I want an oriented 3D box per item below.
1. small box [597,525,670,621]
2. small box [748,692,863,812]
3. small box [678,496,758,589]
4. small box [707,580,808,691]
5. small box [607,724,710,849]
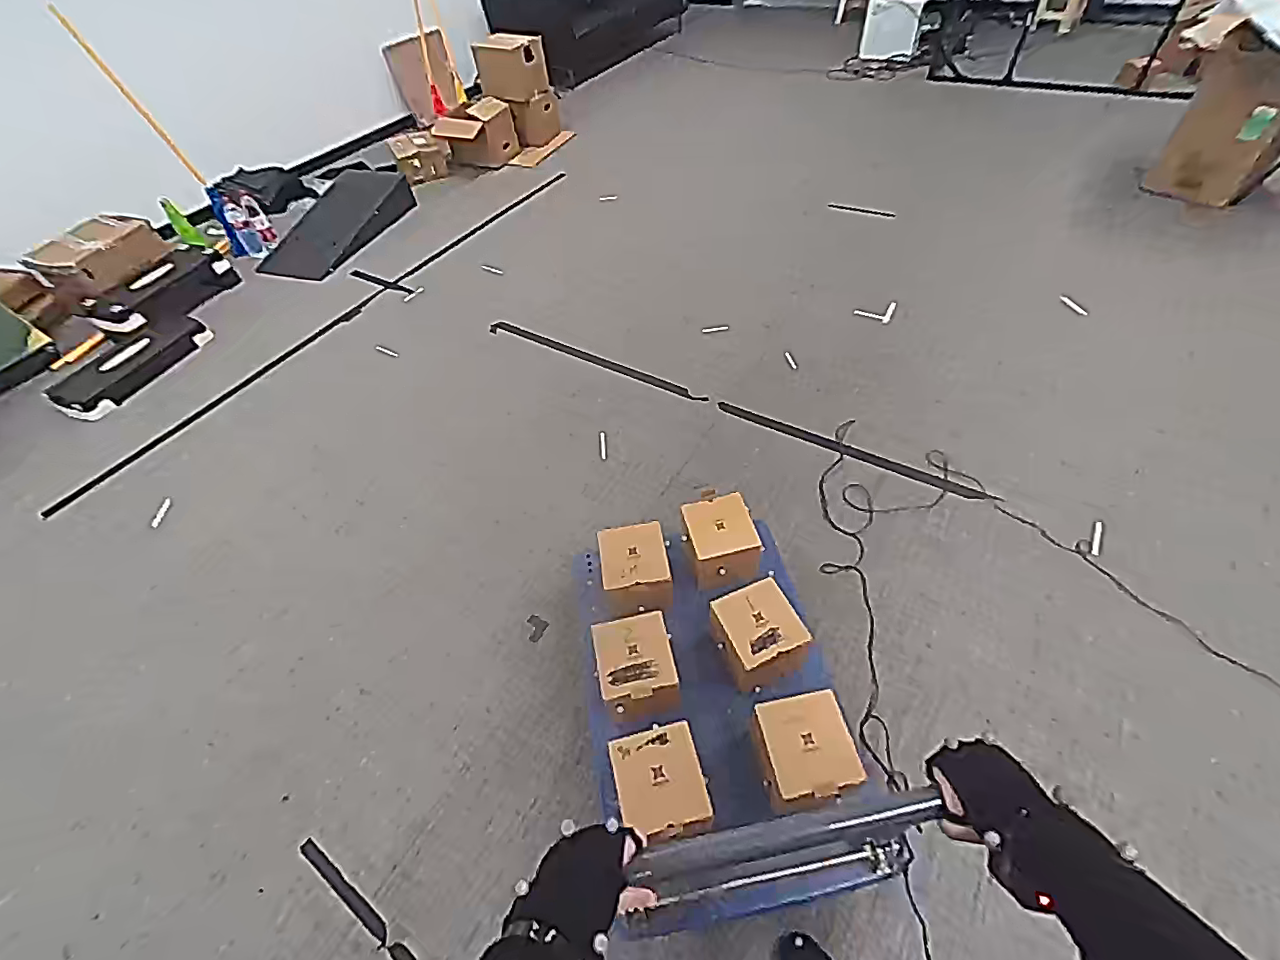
[{"bbox_3d":[-0.017,0.243,1.410,0.168,0.176,0.179,-9,51,-2],"label":"small box"},{"bbox_3d":[0.329,0.565,1.113,0.168,0.176,0.179,-10,49,-3],"label":"small box"},{"bbox_3d":[0.205,0.174,1.450,0.168,0.176,0.179,-13,50,-5],"label":"small box"},{"bbox_3d":[0.269,0.374,1.276,0.168,0.176,0.179,-20,50,-11],"label":"small box"},{"bbox_3d":[0.038,0.623,1.090,0.168,0.176,0.179,-13,51,-6],"label":"small box"}]
